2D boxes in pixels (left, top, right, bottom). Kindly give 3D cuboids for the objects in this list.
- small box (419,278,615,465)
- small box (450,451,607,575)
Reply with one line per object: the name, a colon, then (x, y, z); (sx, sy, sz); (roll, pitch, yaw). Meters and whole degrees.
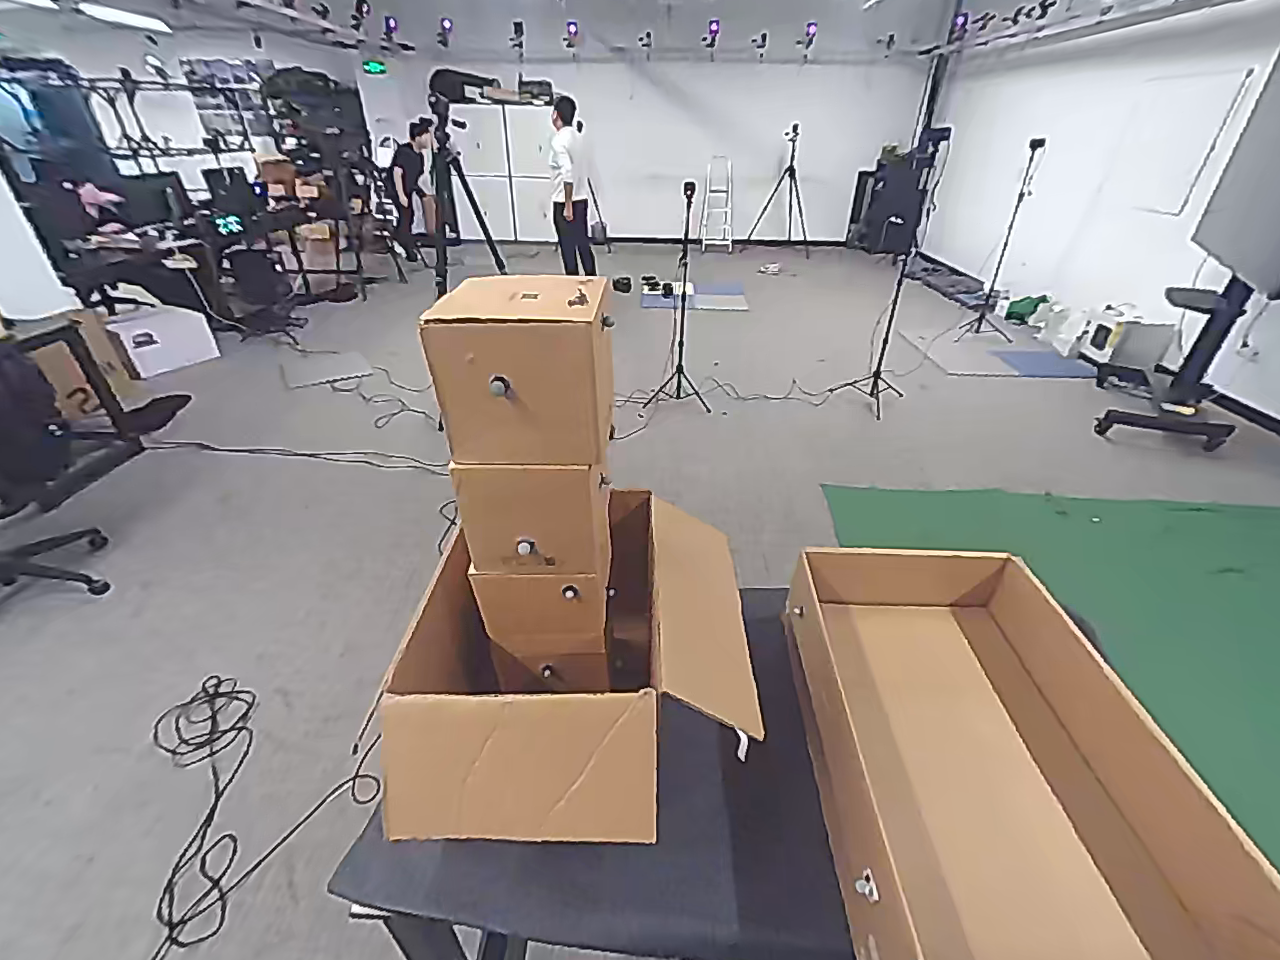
small box: (-0.126, -0.128, 0.635); (0.179, 0.176, 0.168); (0, 36, 3)
small box: (-0.135, 0.006, 0.730); (0.168, 0.176, 0.179); (1, 36, 2)
